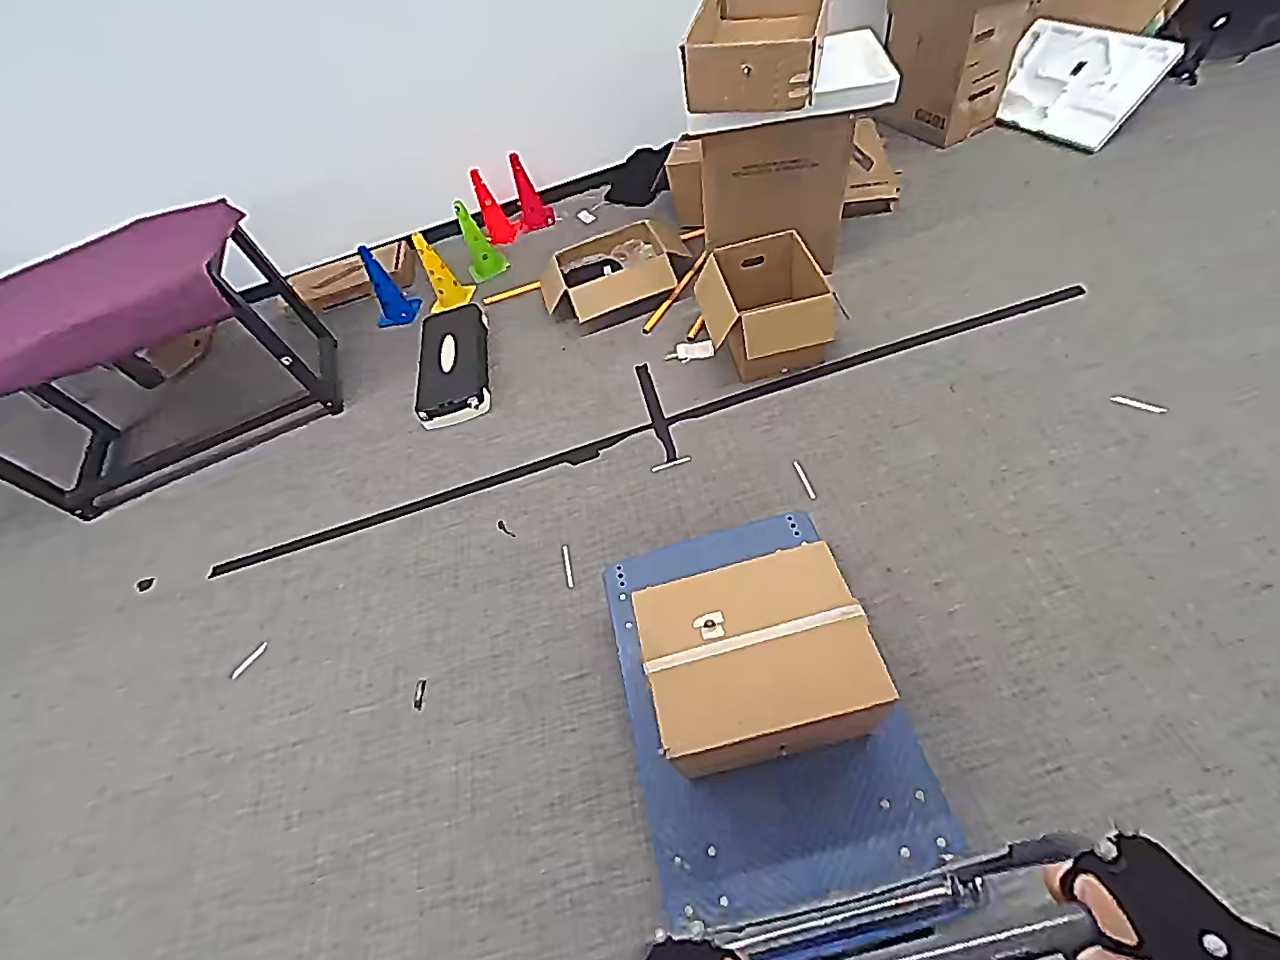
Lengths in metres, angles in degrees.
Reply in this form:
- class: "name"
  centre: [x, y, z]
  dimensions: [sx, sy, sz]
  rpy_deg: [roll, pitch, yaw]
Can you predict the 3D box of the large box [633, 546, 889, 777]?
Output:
- class: "large box"
  centre: [0.238, 0.390, 1.132]
  dimensions: [0.408, 0.320, 0.320]
  rpy_deg: [-17, 53, 3]
